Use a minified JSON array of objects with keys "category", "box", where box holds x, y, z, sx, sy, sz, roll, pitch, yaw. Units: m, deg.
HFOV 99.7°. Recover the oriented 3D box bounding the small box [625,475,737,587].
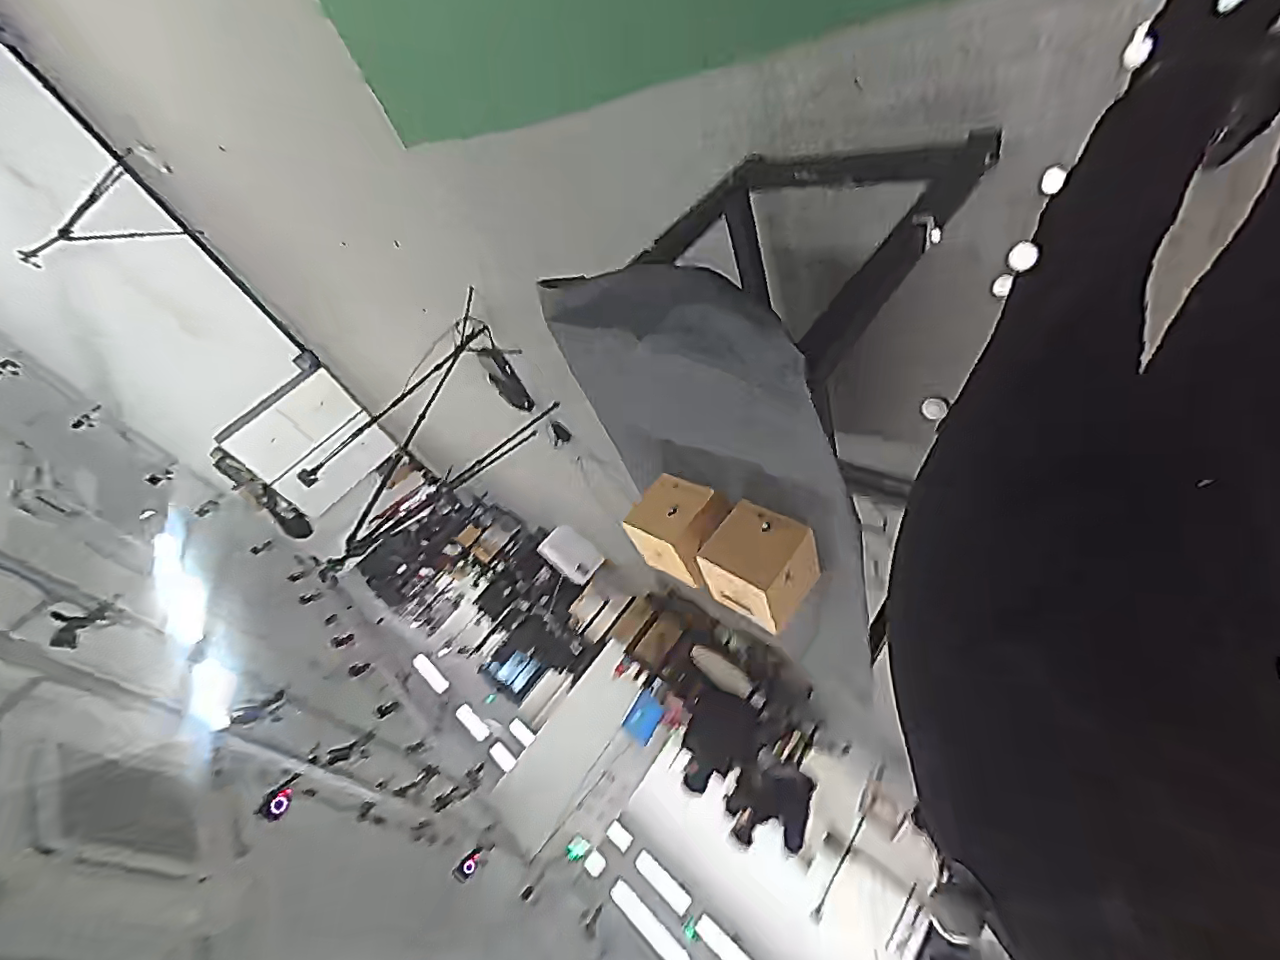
[{"category":"small box","box":[0.100,0.113,1.269,0.168,0.176,0.179,20,151,43]}]
